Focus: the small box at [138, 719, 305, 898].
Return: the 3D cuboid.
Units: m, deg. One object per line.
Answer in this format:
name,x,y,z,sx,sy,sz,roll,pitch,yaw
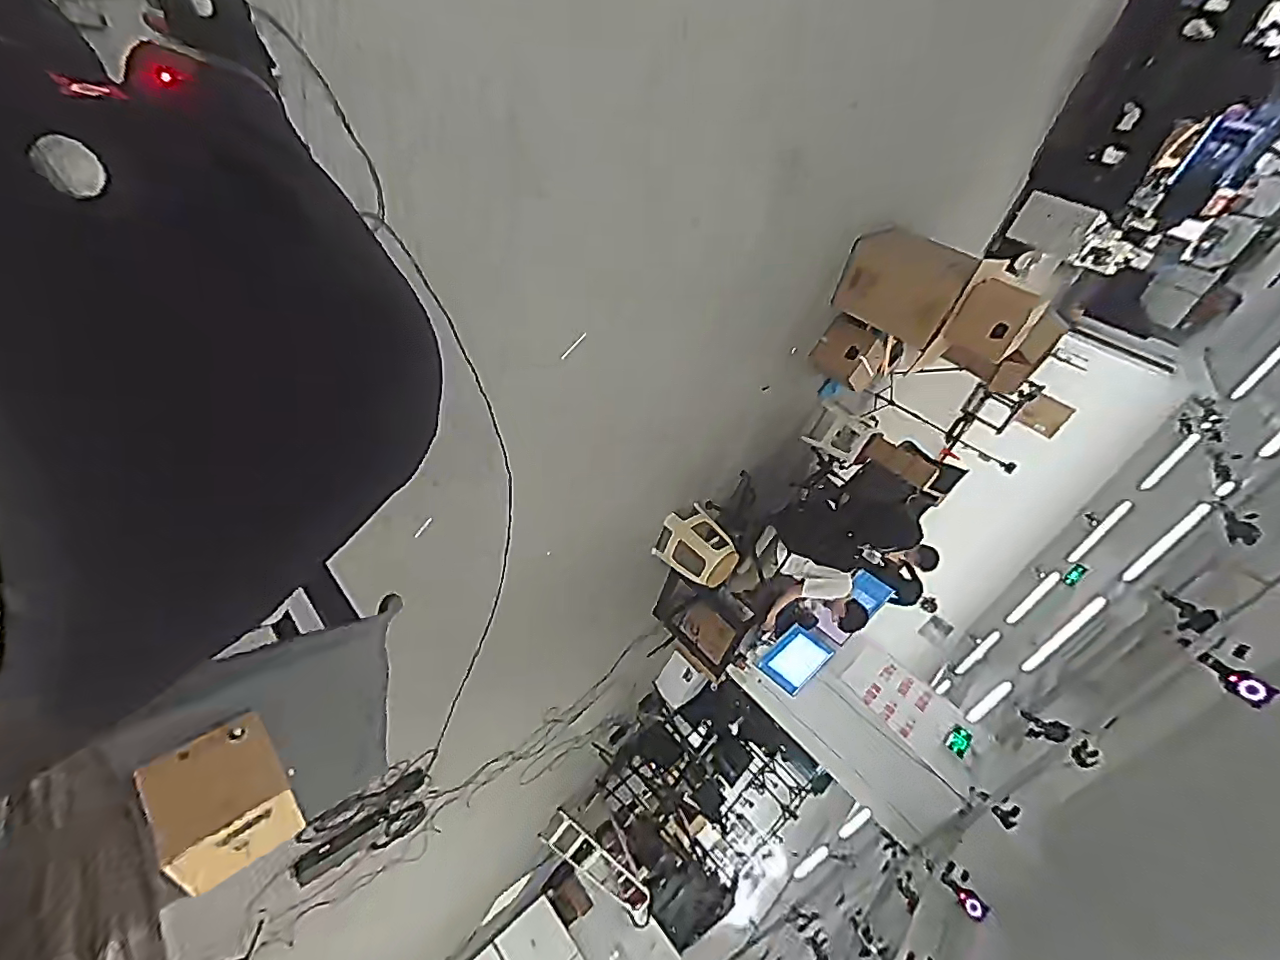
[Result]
small box,-0.694,0.536,0.904,0.168,0.176,0.179,-24,144,-39
